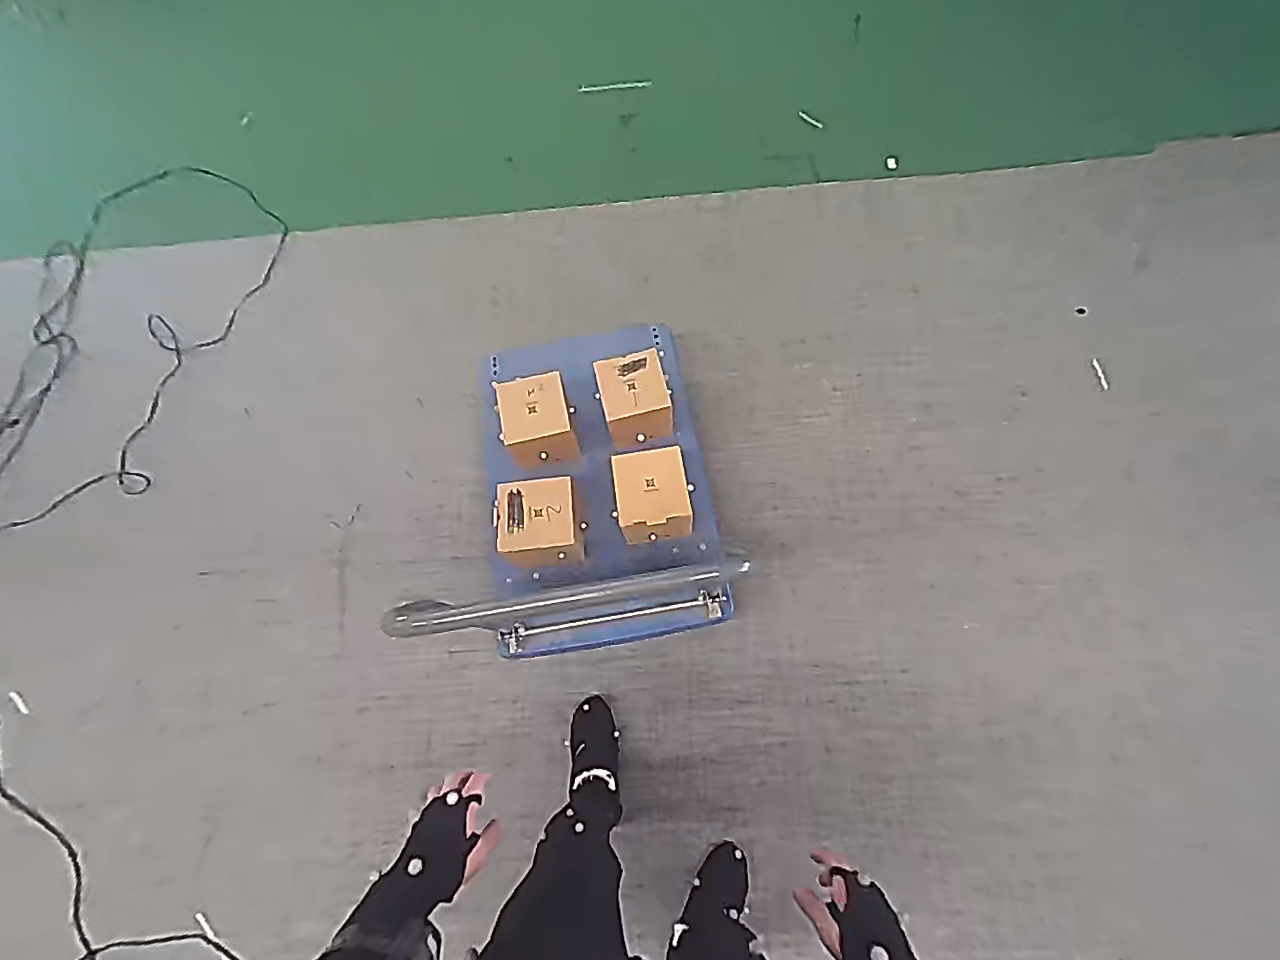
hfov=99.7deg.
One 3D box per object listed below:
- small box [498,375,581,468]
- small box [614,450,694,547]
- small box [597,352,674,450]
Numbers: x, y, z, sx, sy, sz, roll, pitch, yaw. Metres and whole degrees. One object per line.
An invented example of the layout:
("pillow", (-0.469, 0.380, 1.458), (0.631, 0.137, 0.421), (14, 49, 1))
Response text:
("small box", (-0.255, -0.142, 1.400), (0.168, 0.176, 0.179), (-12, 68, -2))
("small box", (0.033, 0.048, 1.308), (0.168, 0.176, 0.179), (-9, 69, 0))
("small box", (-0.010, -0.201, 1.406), (0.168, 0.176, 0.179), (-13, 70, 0))
